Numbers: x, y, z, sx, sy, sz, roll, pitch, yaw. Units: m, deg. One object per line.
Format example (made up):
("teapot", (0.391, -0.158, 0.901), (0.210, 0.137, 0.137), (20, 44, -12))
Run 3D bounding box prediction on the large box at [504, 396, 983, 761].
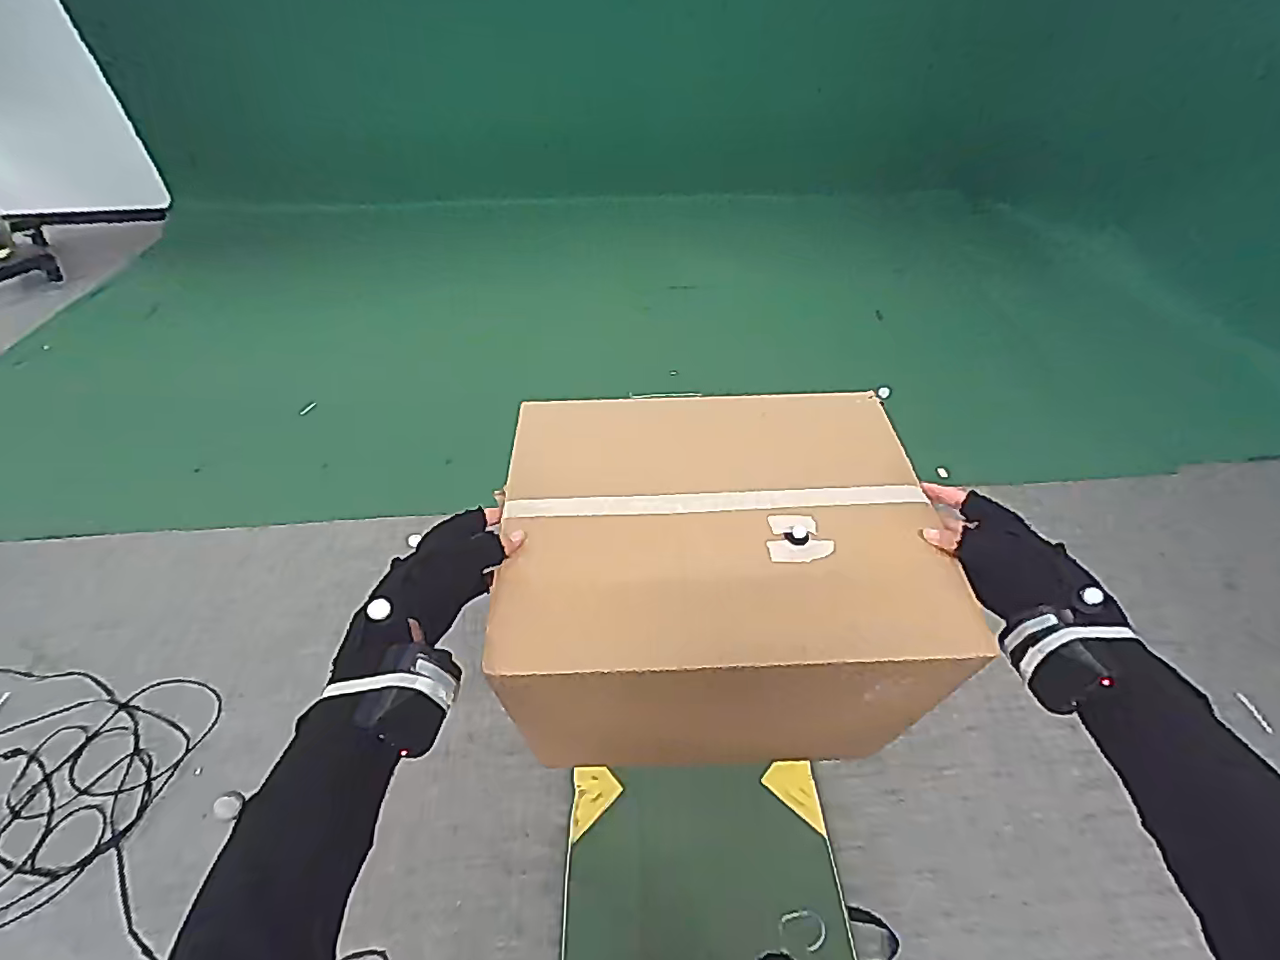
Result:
("large box", (0.078, 0.121, 0.645), (0.408, 0.320, 0.320), (-2, 51, -2))
